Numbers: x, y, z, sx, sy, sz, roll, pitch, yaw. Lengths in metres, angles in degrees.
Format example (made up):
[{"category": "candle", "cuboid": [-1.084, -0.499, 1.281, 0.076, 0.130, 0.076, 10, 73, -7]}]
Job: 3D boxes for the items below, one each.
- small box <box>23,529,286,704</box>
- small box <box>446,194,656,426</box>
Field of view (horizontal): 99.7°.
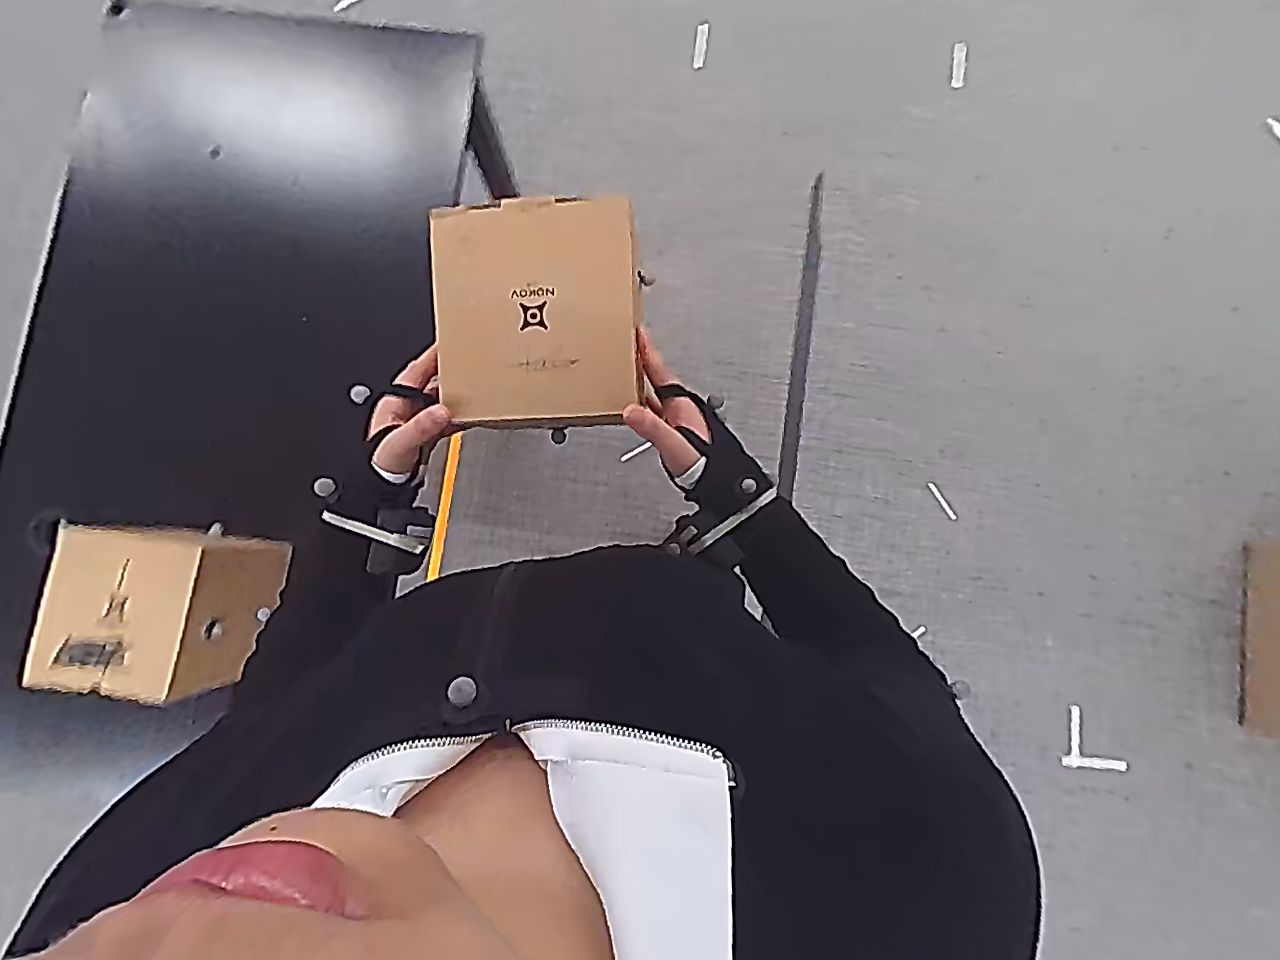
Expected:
[{"category": "small box", "cuboid": [-0.591, 0.162, 0.686, 0.168, 0.176, 0.179, 8, 82, 0]}, {"category": "small box", "cuboid": [-0.072, -0.145, 0.520, 0.168, 0.176, 0.179, -1, 93, 5]}]
